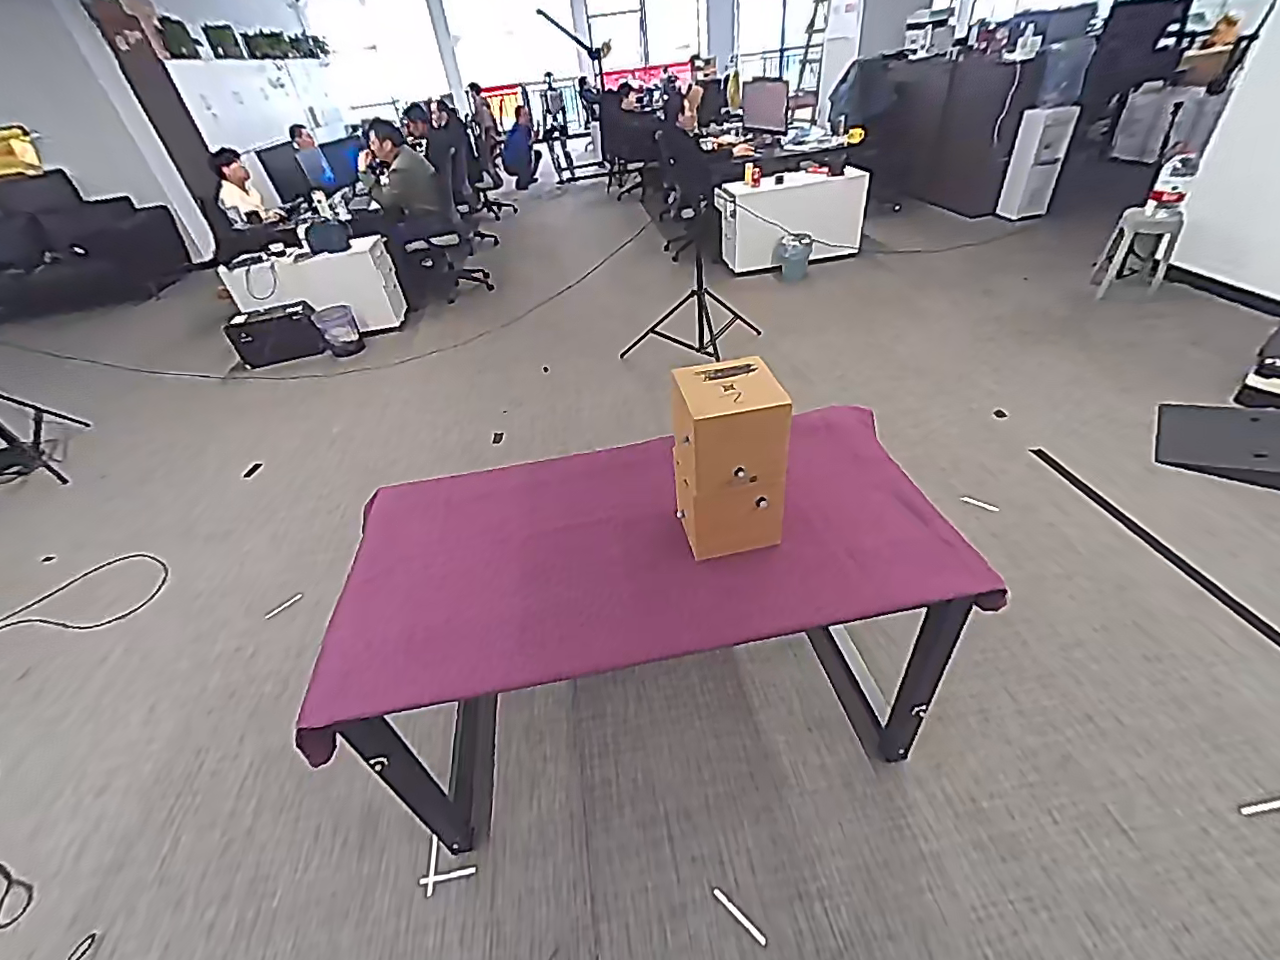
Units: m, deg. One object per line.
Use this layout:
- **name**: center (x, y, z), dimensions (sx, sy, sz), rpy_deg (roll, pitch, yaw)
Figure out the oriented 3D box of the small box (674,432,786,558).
- **small box**: center (0.173, 0.031, 1.075), dimensions (0.179, 0.176, 0.168), rpy_deg (-11, 38, -4)
